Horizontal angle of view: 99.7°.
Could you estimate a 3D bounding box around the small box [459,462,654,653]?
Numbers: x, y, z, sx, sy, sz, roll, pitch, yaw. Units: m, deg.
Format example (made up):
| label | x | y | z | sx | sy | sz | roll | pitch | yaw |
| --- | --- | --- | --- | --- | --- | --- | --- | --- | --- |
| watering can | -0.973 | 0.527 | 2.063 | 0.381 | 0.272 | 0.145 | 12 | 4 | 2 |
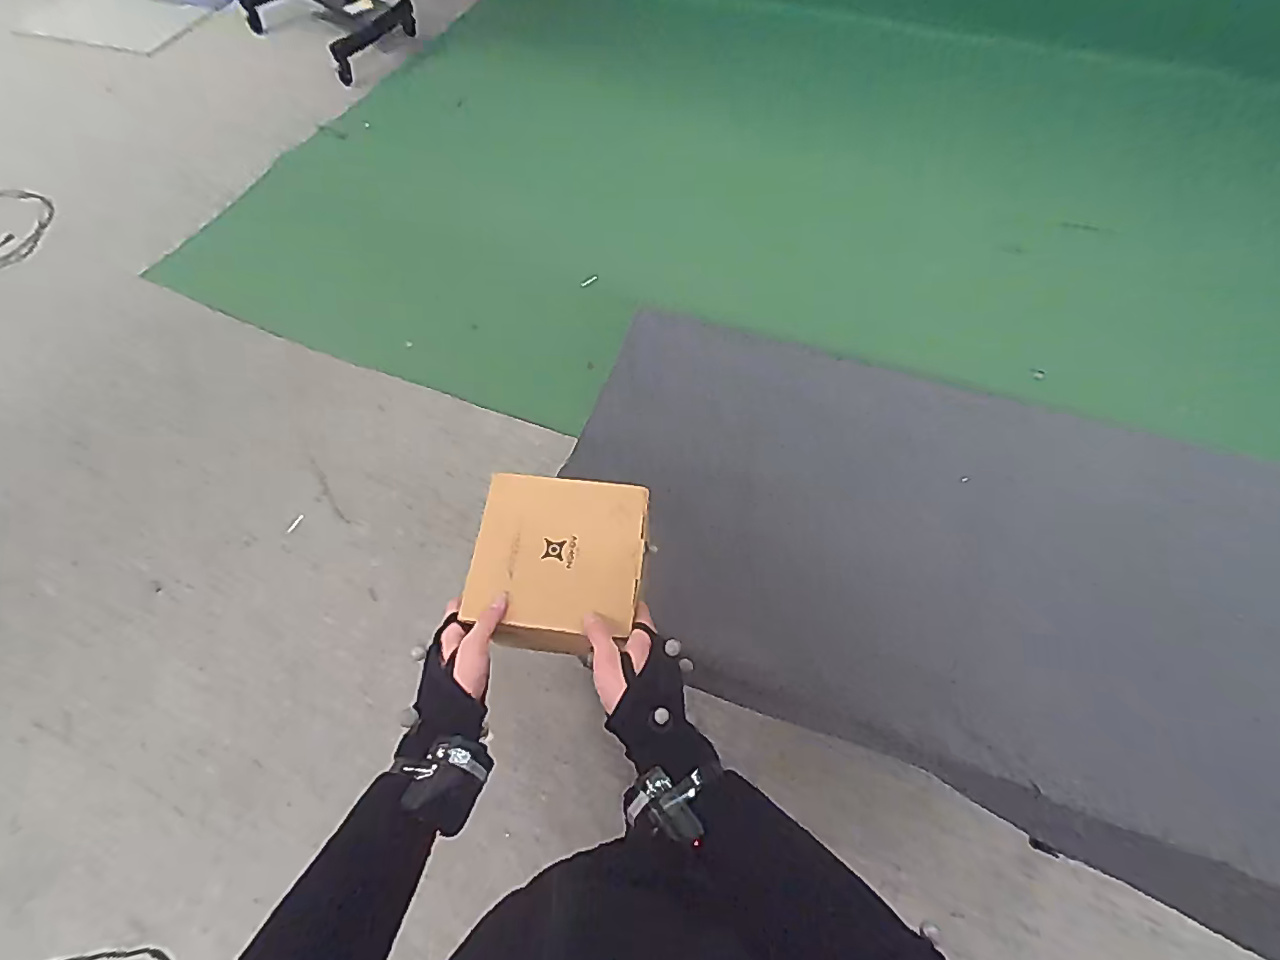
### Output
| label | x | y | z | sx | sy | sz | roll | pitch | yaw |
| --- | --- | --- | --- | --- | --- | --- | --- | --- | --- |
| small box | -0.081 | 0.097 | 0.623 | 0.179 | 0.176 | 0.168 | 5 | 63 | 3 |
